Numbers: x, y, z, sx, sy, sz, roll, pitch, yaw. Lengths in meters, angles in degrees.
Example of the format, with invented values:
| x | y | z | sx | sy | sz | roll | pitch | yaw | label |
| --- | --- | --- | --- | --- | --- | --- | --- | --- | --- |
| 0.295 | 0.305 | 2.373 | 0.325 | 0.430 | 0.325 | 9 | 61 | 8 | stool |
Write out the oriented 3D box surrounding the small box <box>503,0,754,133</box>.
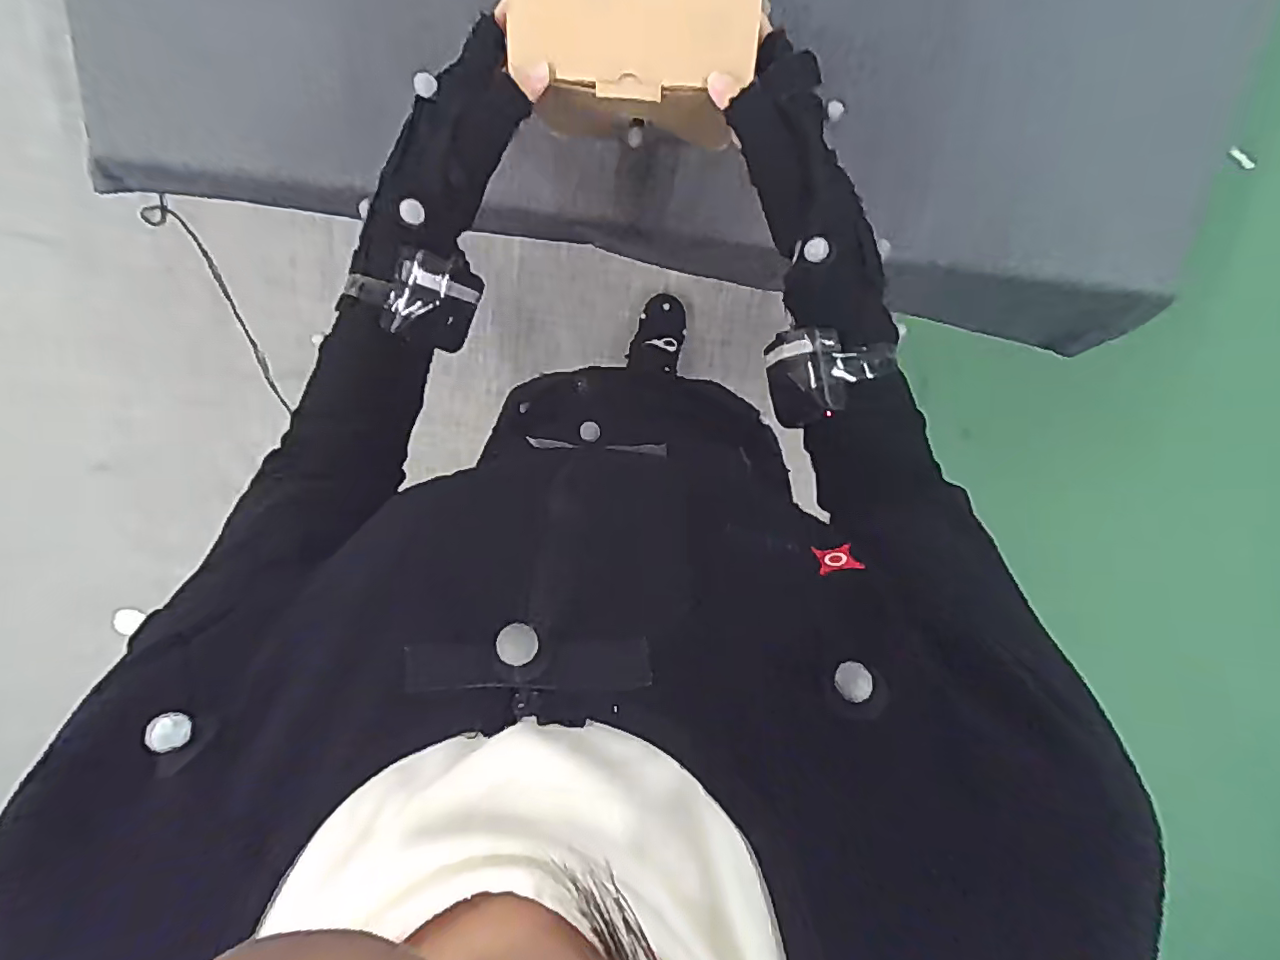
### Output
| x | y | z | sx | sy | sz | roll | pitch | yaw | label |
| --- | --- | --- | --- | --- | --- | --- | --- | --- | --- |
| 0.001 | -0.377 | 0.405 | 0.168 | 0.176 | 0.179 | 4 | 112 | 3 | small box |
